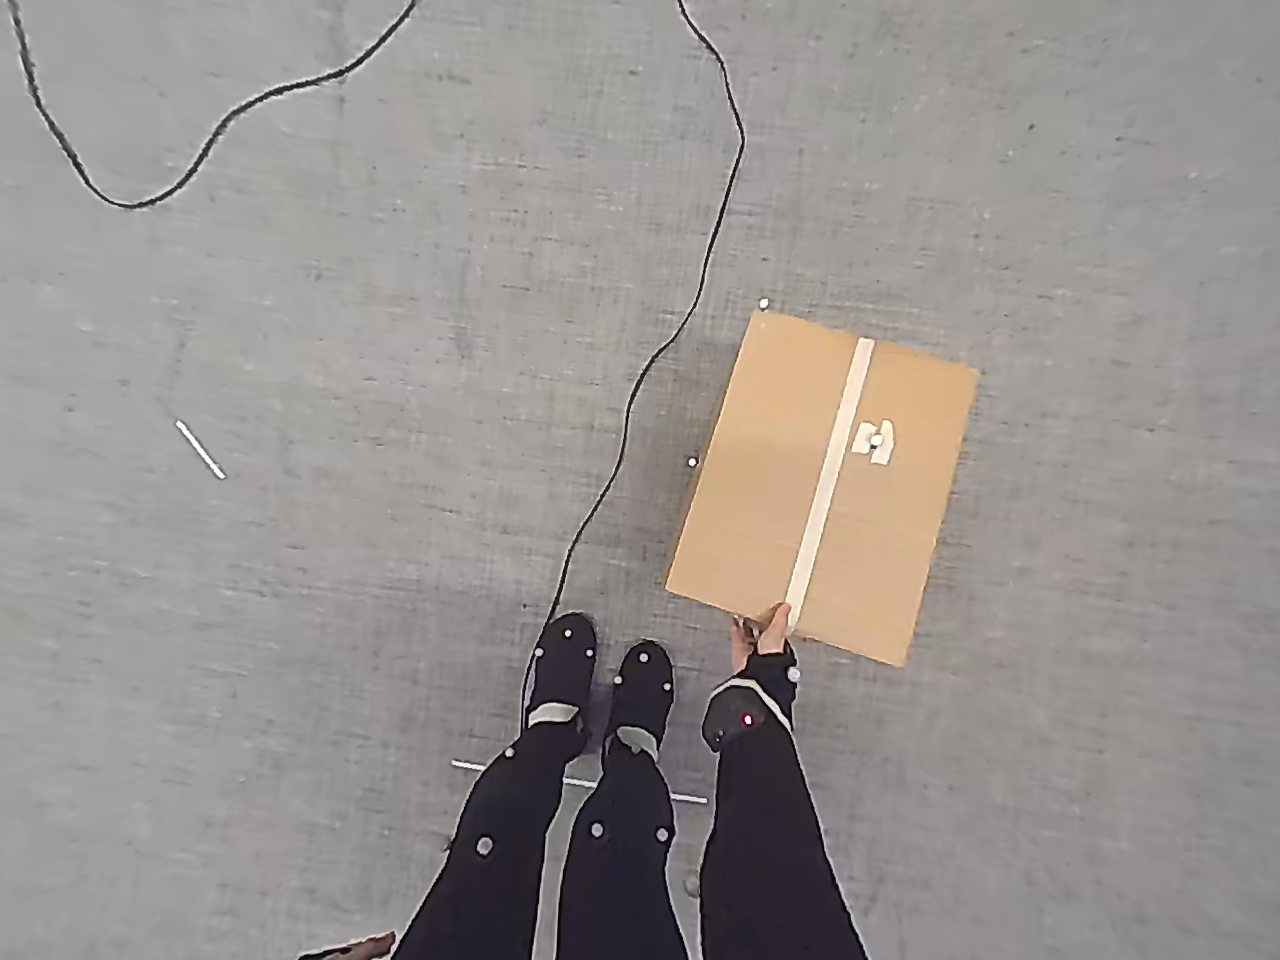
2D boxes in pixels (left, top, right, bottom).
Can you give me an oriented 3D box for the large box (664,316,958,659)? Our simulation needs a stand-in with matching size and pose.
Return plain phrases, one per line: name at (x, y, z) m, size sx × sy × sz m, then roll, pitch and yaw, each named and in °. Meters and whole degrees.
large box at (0.237, 0.022, 0.866) m, size 0.320 × 0.320 × 0.408 m, roll 17°, pitch 83°, yaw 4°
